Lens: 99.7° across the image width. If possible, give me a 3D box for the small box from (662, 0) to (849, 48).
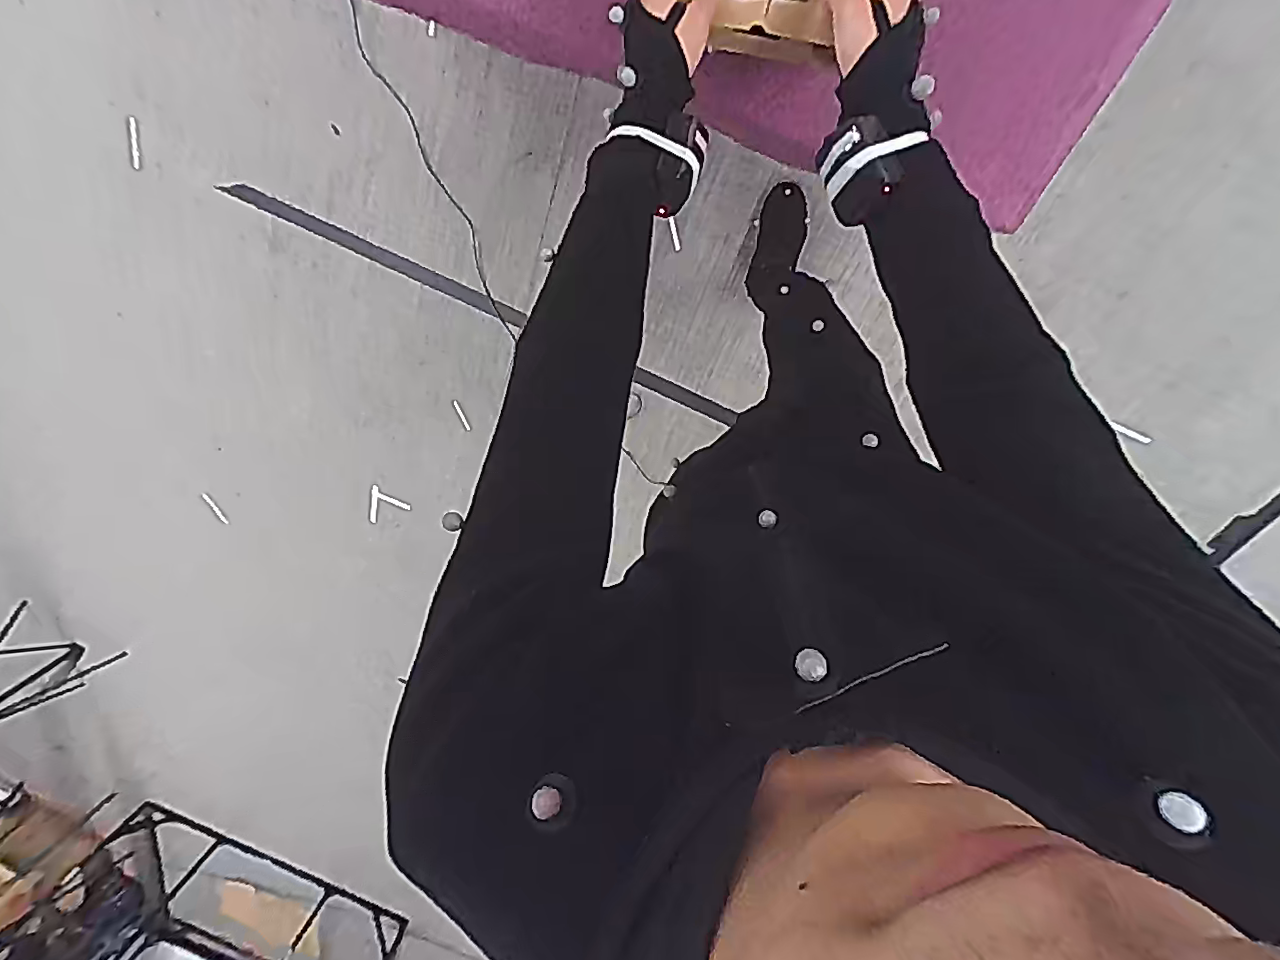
[{"bbox_3d":[0.126,-0.520,0.496,0.168,0.176,0.179,13,127,4],"label":"small box"}]
